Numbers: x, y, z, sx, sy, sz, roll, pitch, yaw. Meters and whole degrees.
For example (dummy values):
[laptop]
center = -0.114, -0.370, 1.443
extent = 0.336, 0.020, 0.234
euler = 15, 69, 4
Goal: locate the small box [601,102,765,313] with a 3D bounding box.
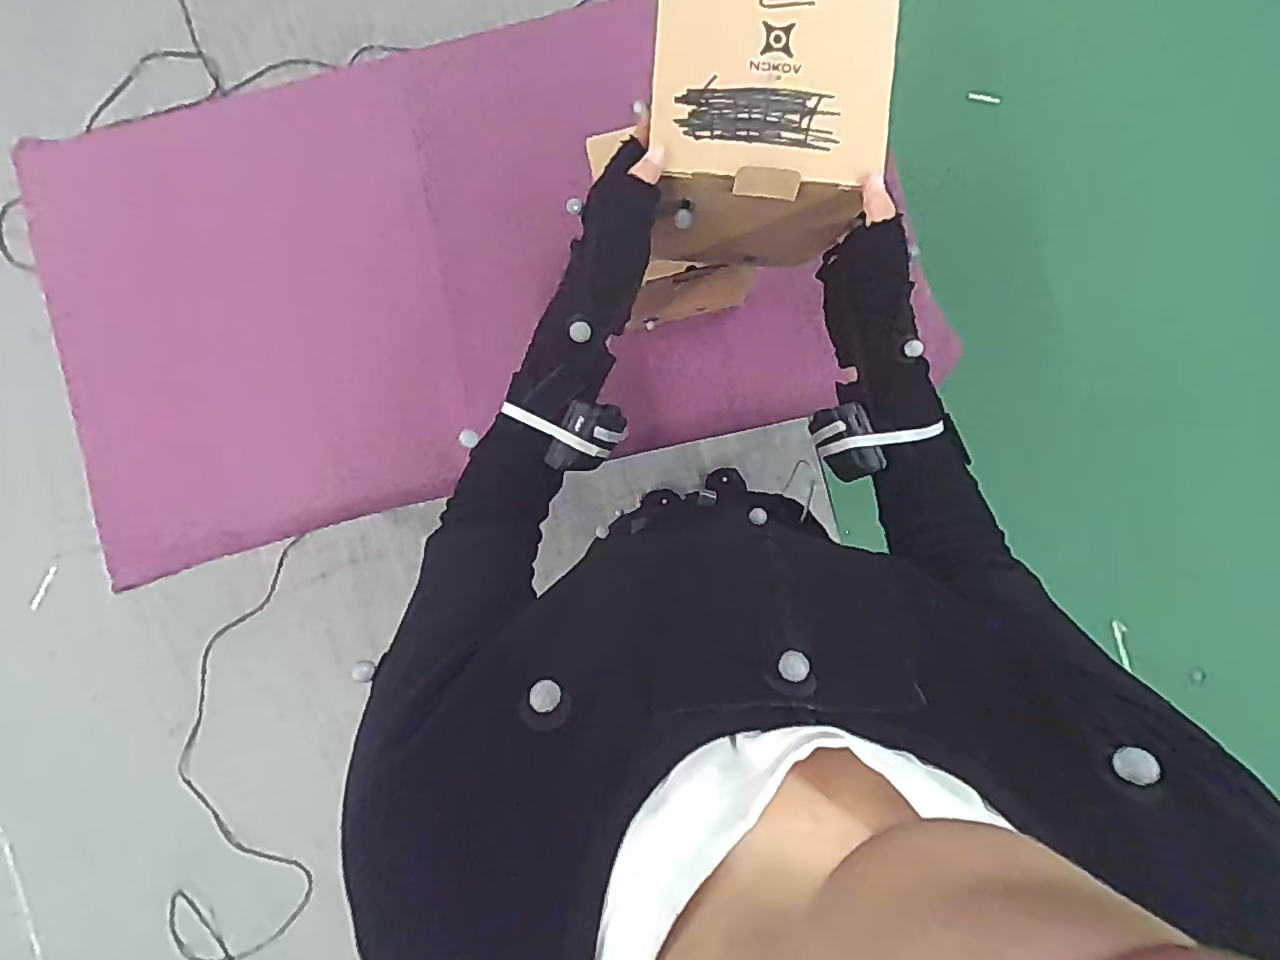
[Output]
[small box]
center = 0.048, -0.317, 0.668
extent = 0.168, 0.176, 0.179
euler = -7, 91, 0
